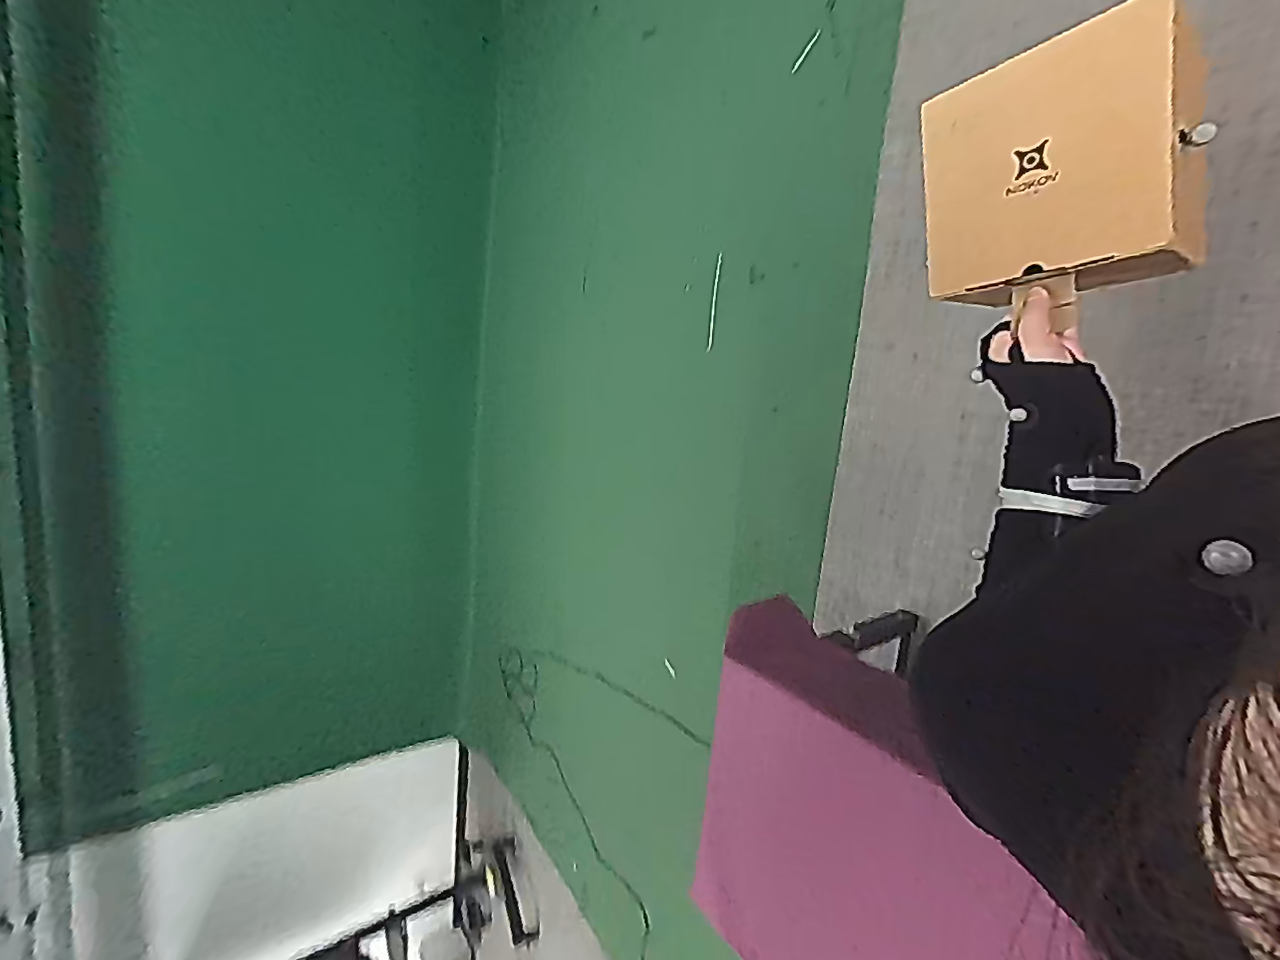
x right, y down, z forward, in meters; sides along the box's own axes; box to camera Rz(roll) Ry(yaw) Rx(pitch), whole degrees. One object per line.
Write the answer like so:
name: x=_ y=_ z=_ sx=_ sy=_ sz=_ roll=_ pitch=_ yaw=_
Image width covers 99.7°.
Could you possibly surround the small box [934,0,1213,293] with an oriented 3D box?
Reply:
small box: x=0.382 y=-0.274 z=0.482 sx=0.168 sy=0.176 sz=0.179 roll=4 pitch=104 yaw=50
